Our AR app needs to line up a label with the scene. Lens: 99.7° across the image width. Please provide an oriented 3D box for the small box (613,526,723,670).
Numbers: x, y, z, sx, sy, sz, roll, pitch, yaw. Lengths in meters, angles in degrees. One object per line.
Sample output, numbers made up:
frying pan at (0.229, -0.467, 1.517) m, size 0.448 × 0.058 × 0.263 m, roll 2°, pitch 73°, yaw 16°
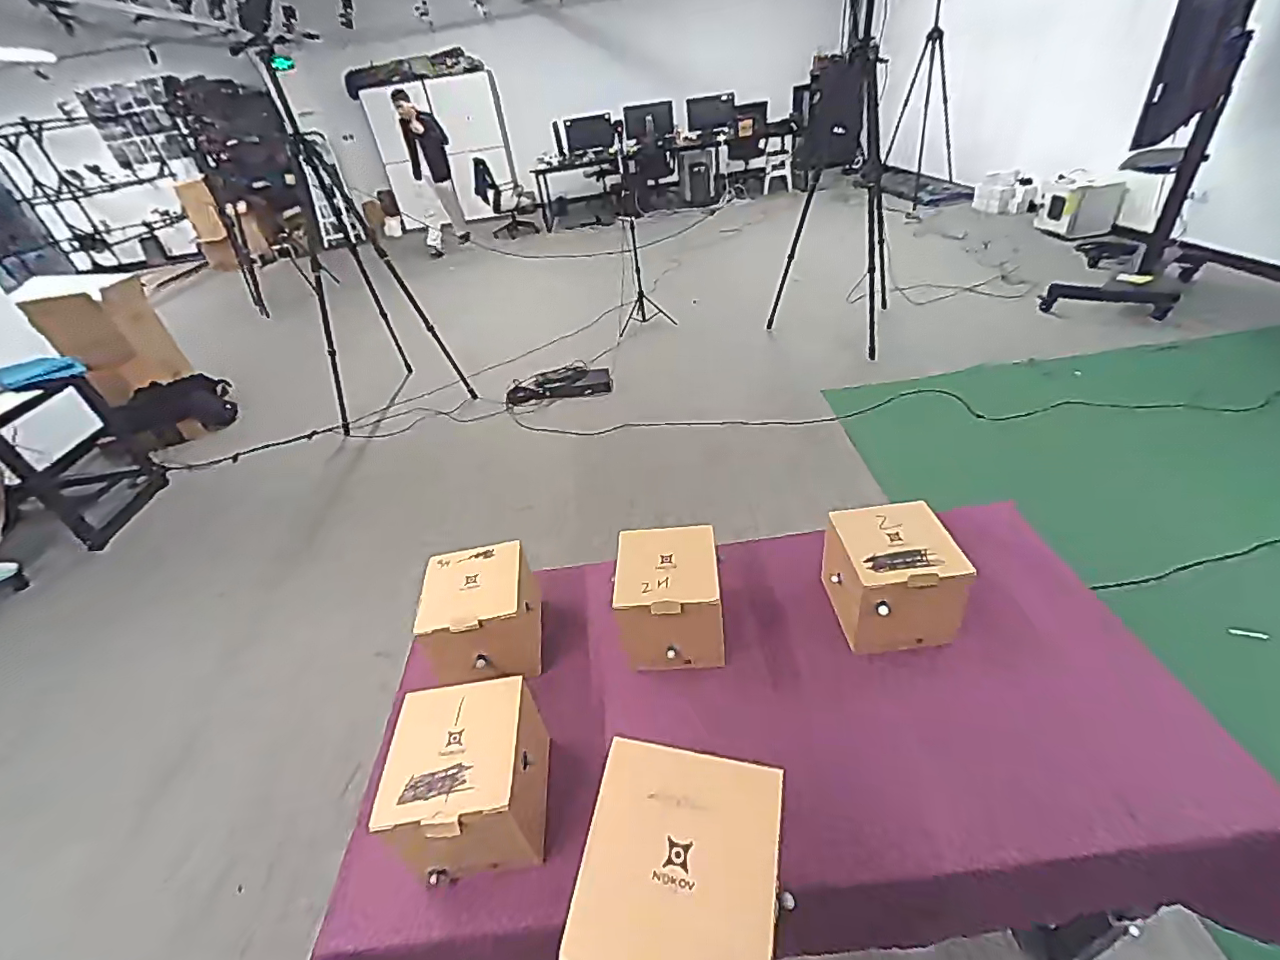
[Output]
small box at (0.054, 0.202, 0.929) m, size 0.168 × 0.176 × 0.179 m, roll -5°, pitch 37°, yaw 7°

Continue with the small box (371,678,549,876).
small box at (-0.223, 0.401, 0.727) m, size 0.168 × 0.176 × 0.179 m, roll -9°, pitch 35°, yaw 0°

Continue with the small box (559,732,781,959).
small box at (0.045, 0.374, 0.522) m, size 0.168 × 0.176 × 0.179 m, roll 4°, pitch 50°, yaw 17°

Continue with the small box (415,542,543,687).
small box at (-0.270, 0.241, 0.951) m, size 0.168 × 0.176 × 0.179 m, roll -11°, pitch 37°, yaw -2°
